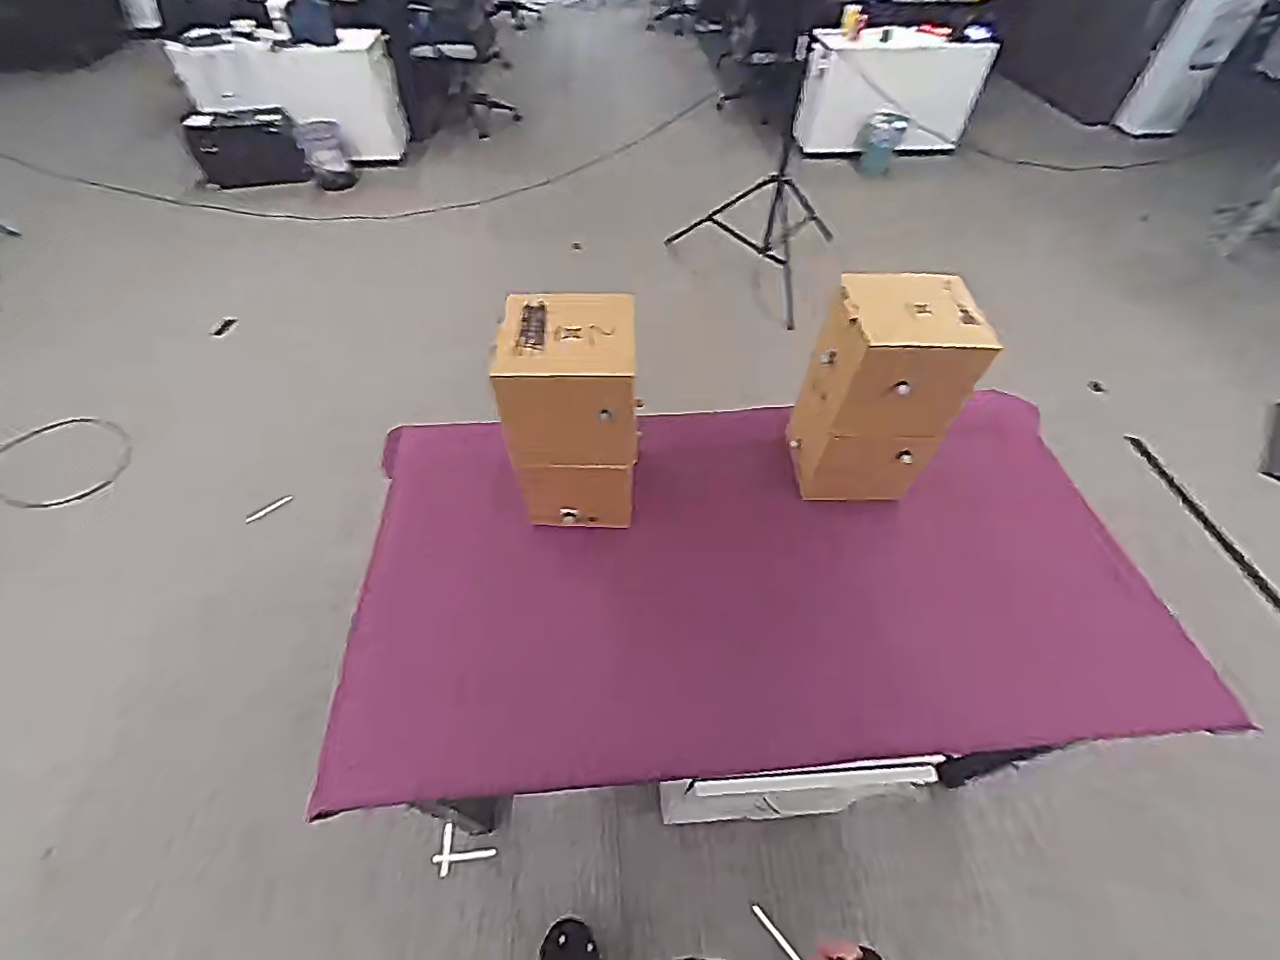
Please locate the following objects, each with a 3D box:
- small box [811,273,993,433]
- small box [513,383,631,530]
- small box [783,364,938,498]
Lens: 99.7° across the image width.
[{"bbox_3d":[0.363,-0.183,0.796,0.179,0.176,0.168,0,53,0],"label":"small box"},{"bbox_3d":[-0.099,-0.037,0.881,0.168,0.176,0.179,0,54,0],"label":"small box"},{"bbox_3d":[0.362,-0.081,0.924,0.179,0.176,0.168,-1,52,-2],"label":"small box"}]
